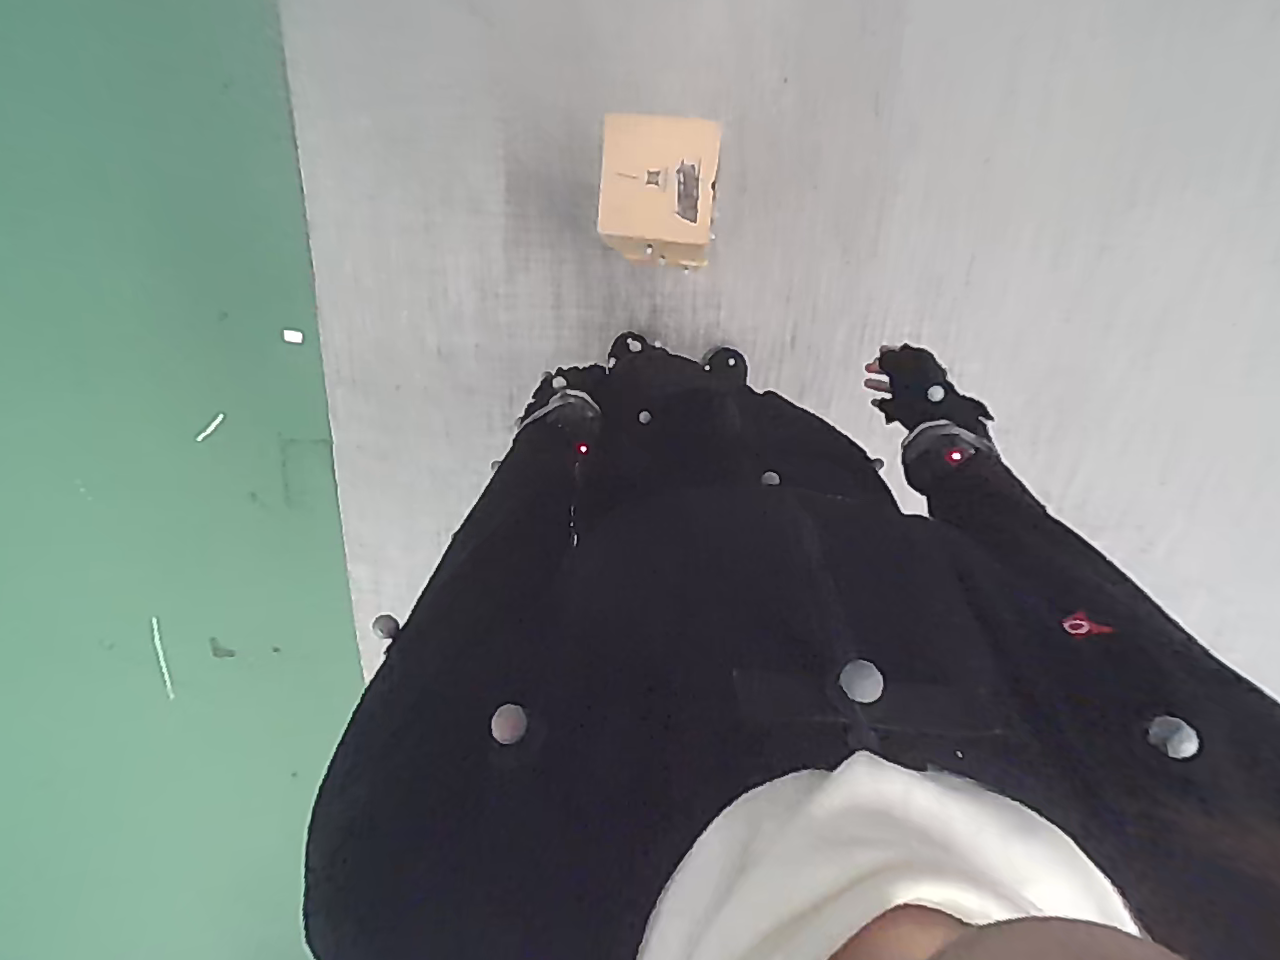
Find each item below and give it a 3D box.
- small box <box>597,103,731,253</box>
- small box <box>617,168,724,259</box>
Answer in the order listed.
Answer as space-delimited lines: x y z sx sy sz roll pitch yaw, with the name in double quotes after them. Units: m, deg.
0.038 -0.477 0.883 0.179 0.176 0.168 11 106 1 "small box"
0.058 -0.528 1.041 0.179 0.176 0.168 8 108 2 "small box"
